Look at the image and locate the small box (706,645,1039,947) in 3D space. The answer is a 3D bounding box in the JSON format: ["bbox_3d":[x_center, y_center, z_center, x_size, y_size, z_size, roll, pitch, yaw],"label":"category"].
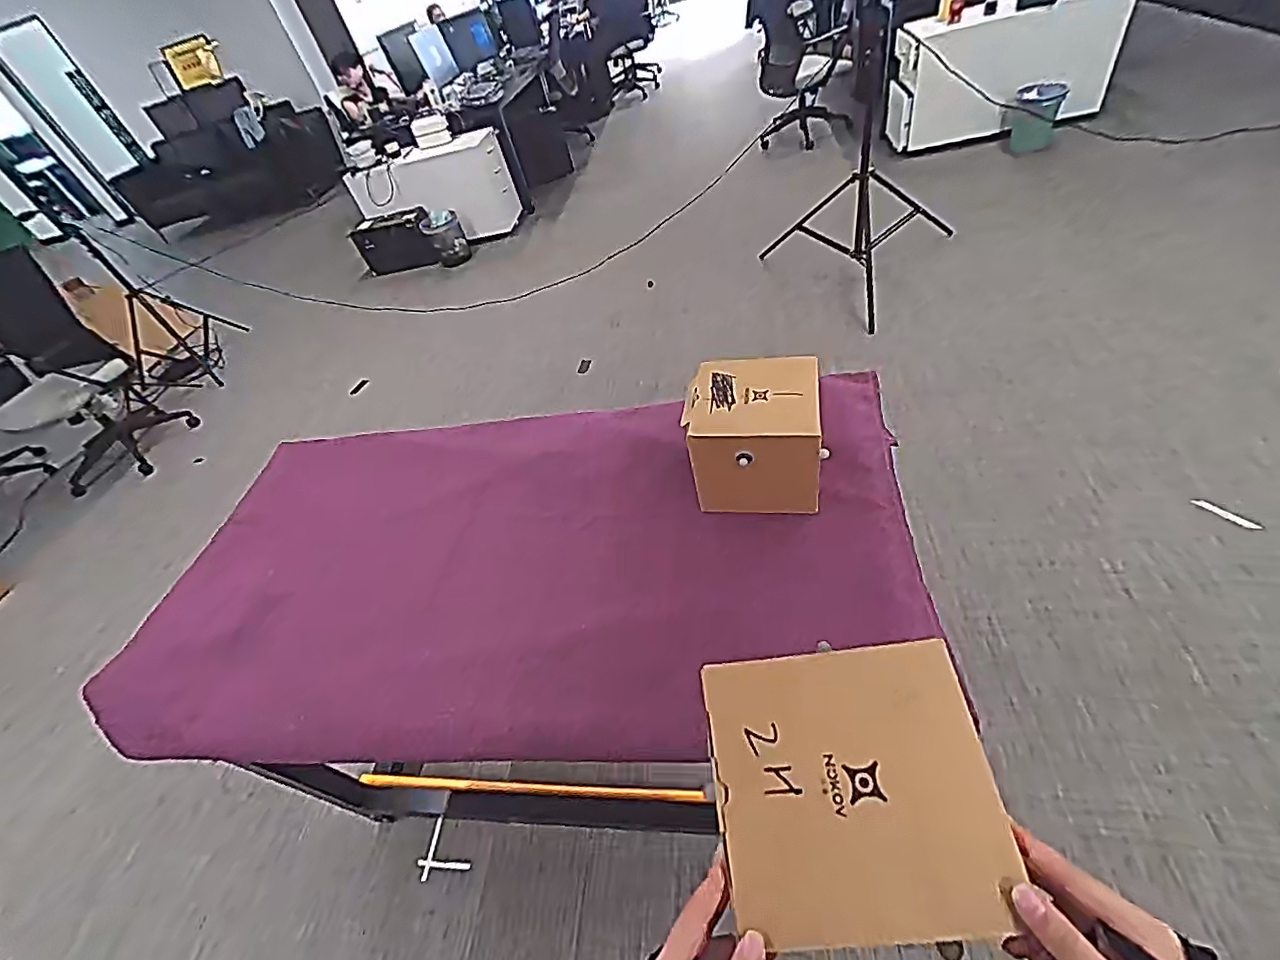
[{"bbox_3d":[0.151,0.236,0.423,0.179,0.176,0.168,-9,59,7],"label":"small box"}]

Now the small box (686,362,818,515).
[{"bbox_3d":[0.177,-0.059,0.823,0.179,0.176,0.168,1,49,16],"label":"small box"}]
